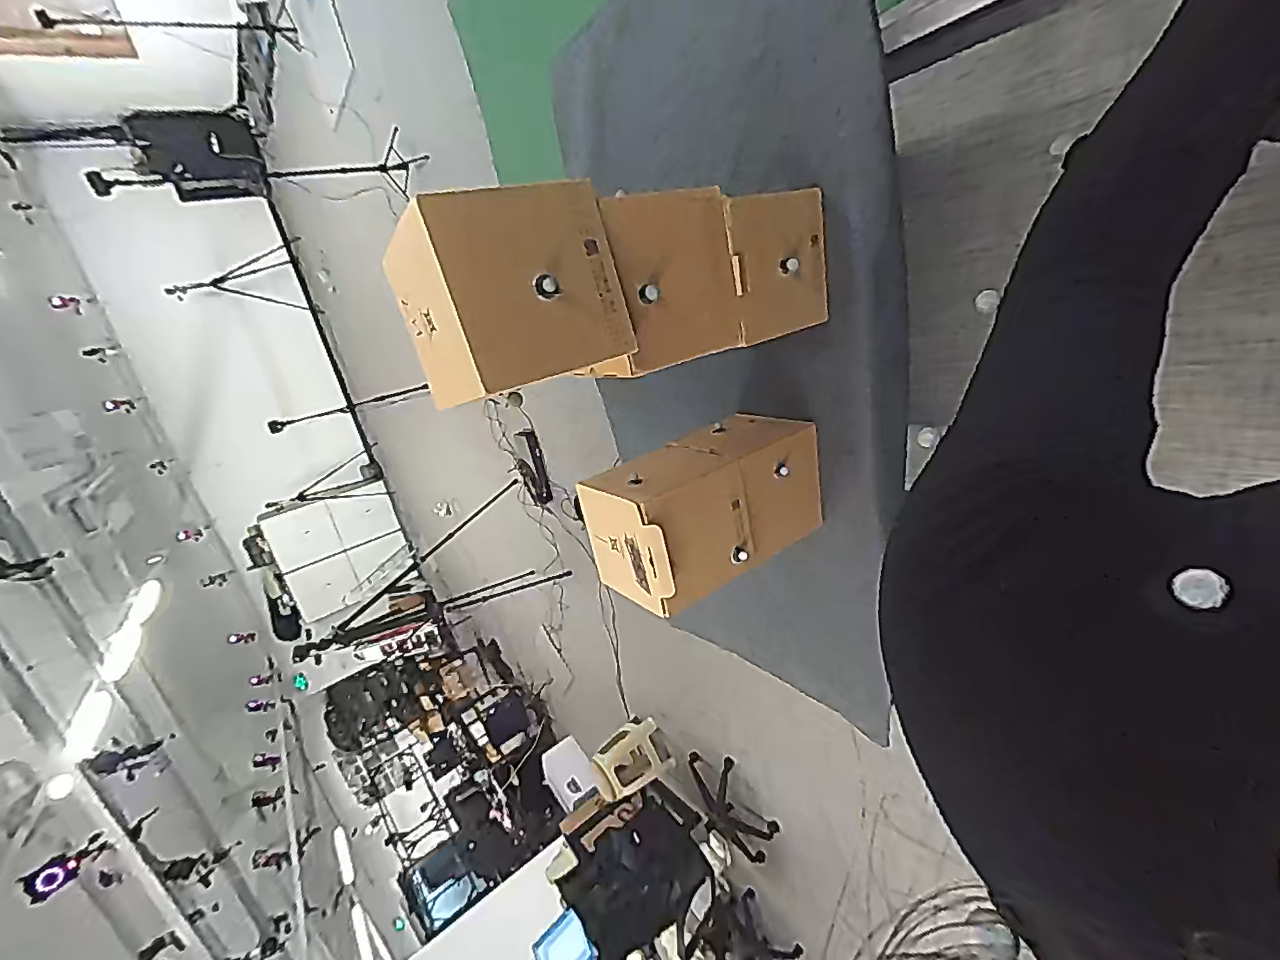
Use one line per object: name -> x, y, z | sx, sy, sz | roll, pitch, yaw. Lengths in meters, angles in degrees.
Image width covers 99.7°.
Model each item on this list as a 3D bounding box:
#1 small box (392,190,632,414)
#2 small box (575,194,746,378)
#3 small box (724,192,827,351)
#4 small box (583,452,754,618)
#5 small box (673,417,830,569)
small box -> -0.125, -0.175, 0.552 | 0.179, 0.176, 0.168 | 2, 113, 58
small box -> 0.003, -0.227, 0.644 | 0.168, 0.176, 0.179 | 15, 124, 54
small box -> 0.134, -0.275, 0.728 | 0.179, 0.176, 0.168 | 17, 125, 52
small box -> 0.047, 0.066, 0.778 | 0.179, 0.176, 0.168 | 14, 121, 56
small box -> 0.179, 0.008, 0.858 | 0.168, 0.176, 0.179 | 17, 126, 54
